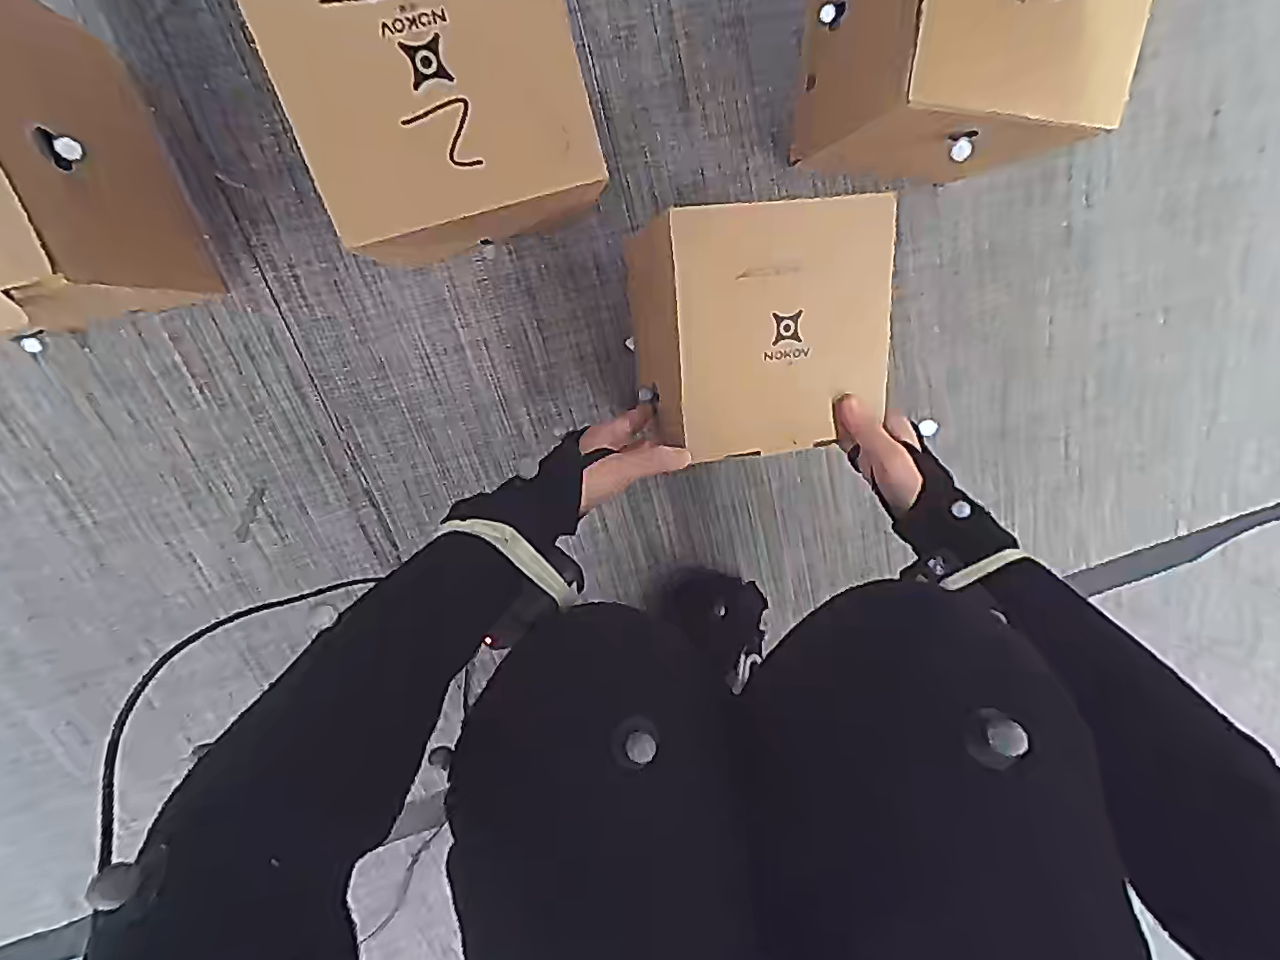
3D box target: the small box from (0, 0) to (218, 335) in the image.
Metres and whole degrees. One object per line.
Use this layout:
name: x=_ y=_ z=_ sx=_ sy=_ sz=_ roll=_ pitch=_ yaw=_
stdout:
small box: x=-0.417 y=-0.189 z=0.332 sx=0.168 sy=0.176 sz=0.179 roll=-16 pitch=108 yaw=-7

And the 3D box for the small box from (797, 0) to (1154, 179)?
small box: x=0.250 y=-0.349 z=0.424 sx=0.179 sy=0.176 sz=0.168 roll=-1 pitch=107 yaw=-11
